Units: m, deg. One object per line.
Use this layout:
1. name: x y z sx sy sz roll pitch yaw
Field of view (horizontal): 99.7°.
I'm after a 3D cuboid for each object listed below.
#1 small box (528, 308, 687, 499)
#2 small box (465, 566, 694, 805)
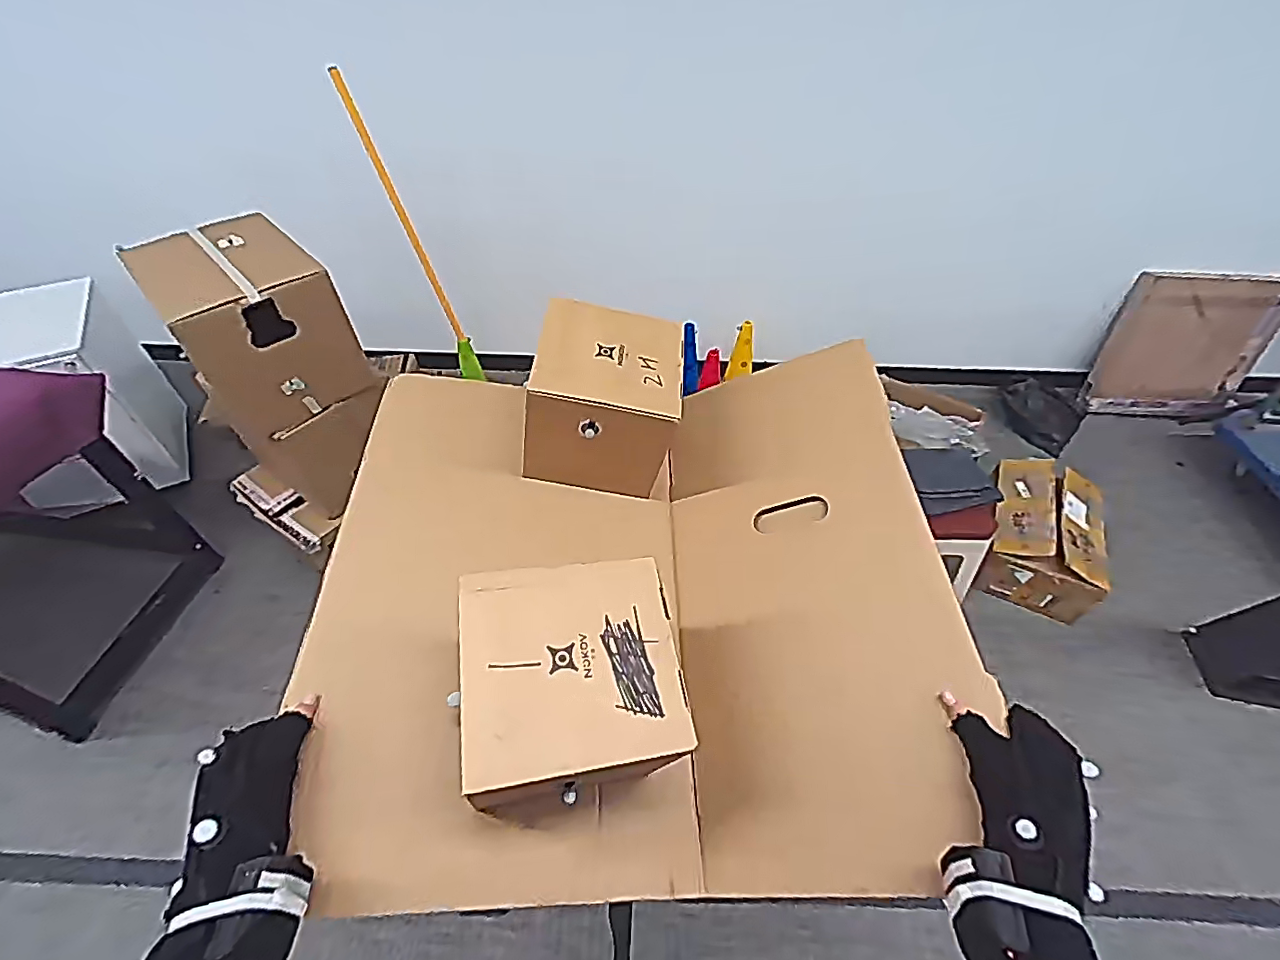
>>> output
1. small box: -0.047 -0.093 0.712 0.179 0.176 0.168 11 54 -7
2. small box: -0.069 0.194 0.509 0.179 0.176 0.168 -3 57 -15
